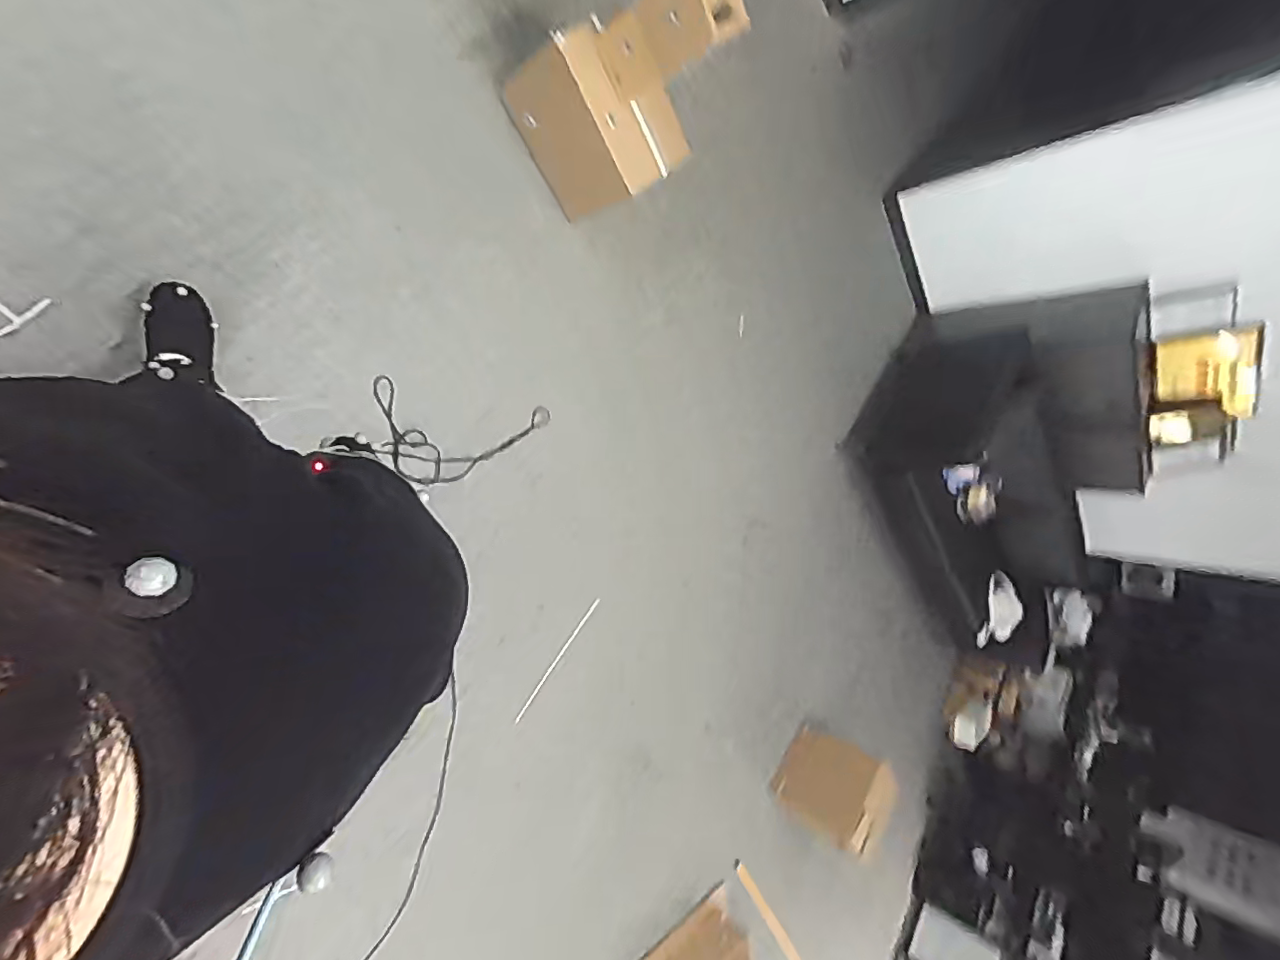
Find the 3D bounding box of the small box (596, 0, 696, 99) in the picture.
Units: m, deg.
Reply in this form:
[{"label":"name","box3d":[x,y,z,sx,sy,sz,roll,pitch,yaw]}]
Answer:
[{"label":"small box","box3d":[0.009,-1.134,1.403,0.179,0.176,0.168,-51,125,-28]}]
